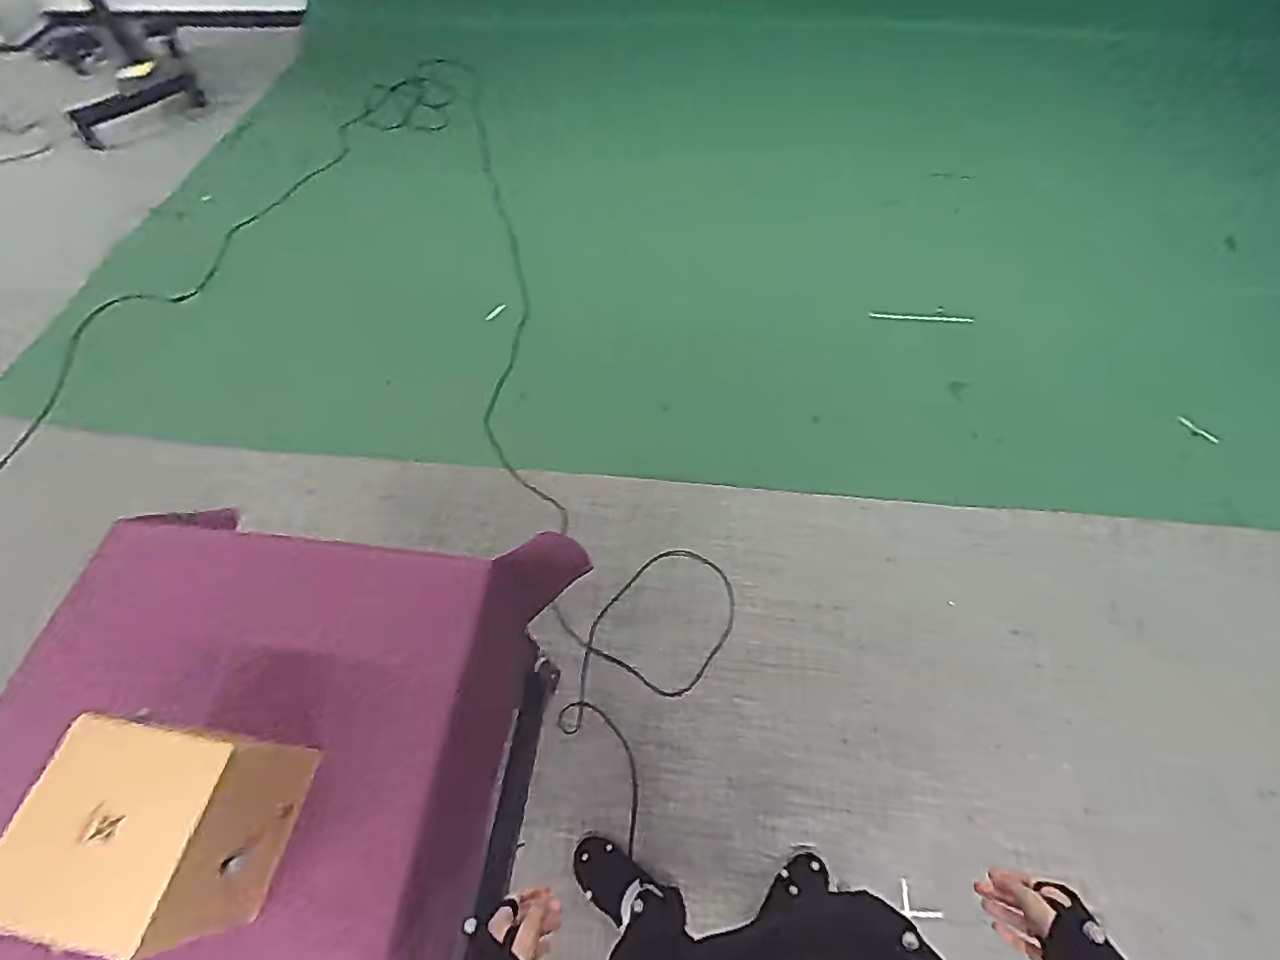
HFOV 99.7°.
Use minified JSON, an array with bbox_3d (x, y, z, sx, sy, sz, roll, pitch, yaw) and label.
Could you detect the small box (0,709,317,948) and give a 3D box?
[{"bbox_3d":[-0.487,0.349,0.567,0.179,0.176,0.168,7,61,7],"label":"small box"}]
